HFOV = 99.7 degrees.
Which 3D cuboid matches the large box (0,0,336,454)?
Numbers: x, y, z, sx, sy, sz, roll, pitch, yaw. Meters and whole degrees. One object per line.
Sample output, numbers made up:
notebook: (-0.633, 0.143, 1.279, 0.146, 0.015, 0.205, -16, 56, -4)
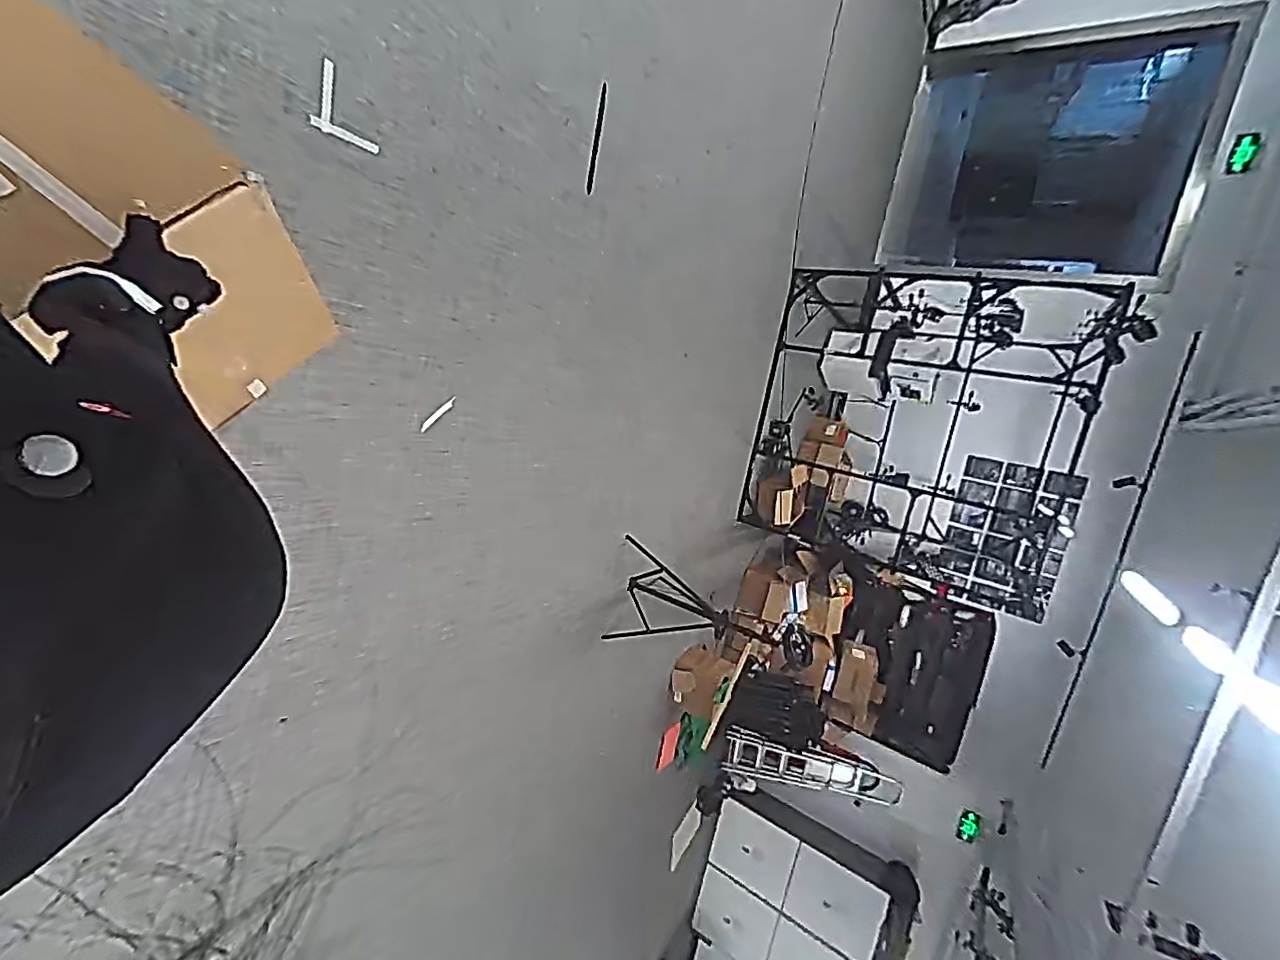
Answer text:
large box: (-0.708, -0.306, 0.707, 0.320, 0.408, 0.320, -52, 179, -21)
